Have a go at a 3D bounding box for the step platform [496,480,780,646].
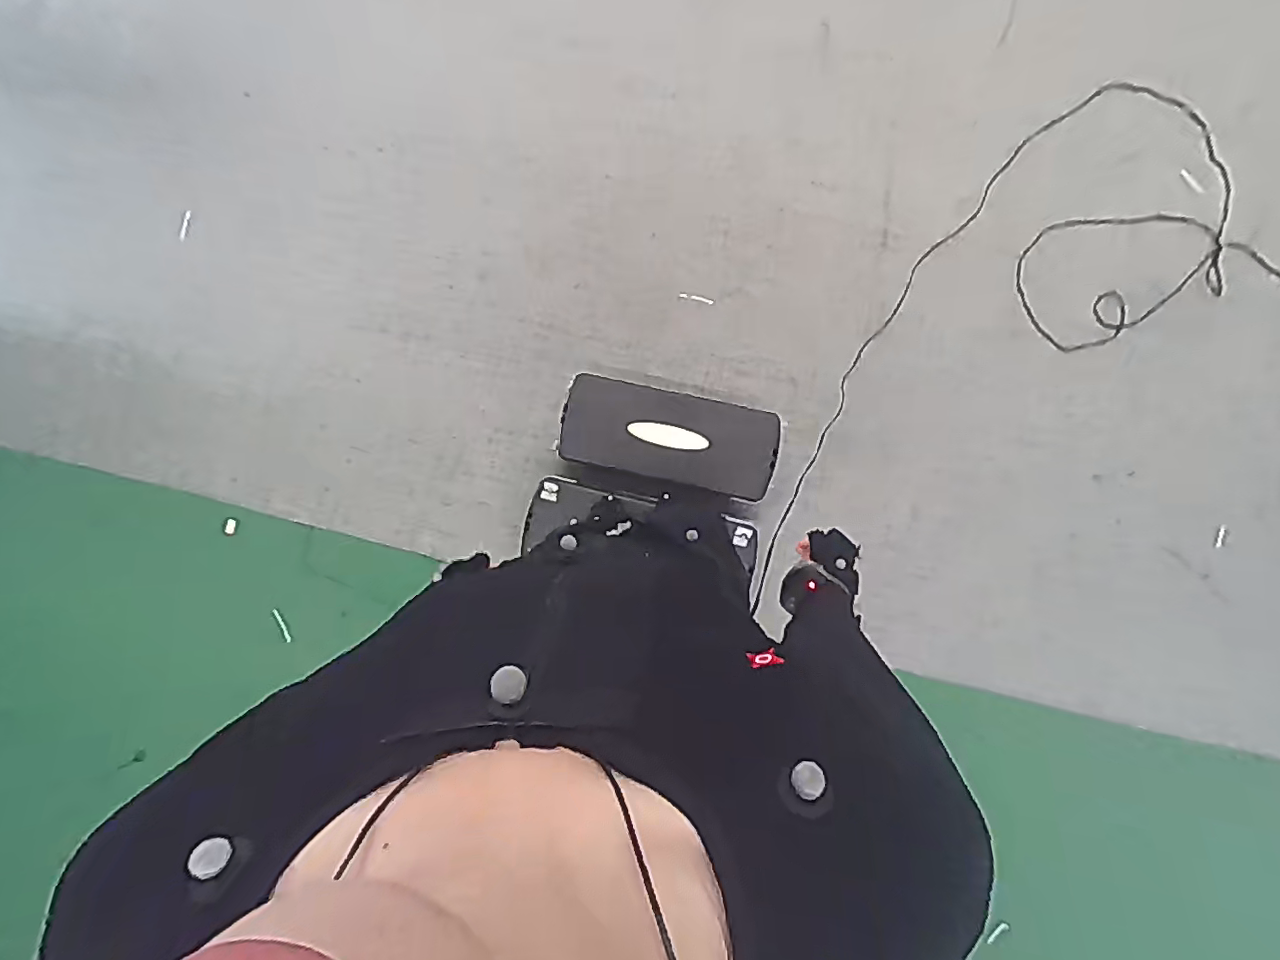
[{"bbox_3d":[-0.005,0.201,1.399,0.684,0.204,0.286,12,89,3],"label":"step platform"}]
